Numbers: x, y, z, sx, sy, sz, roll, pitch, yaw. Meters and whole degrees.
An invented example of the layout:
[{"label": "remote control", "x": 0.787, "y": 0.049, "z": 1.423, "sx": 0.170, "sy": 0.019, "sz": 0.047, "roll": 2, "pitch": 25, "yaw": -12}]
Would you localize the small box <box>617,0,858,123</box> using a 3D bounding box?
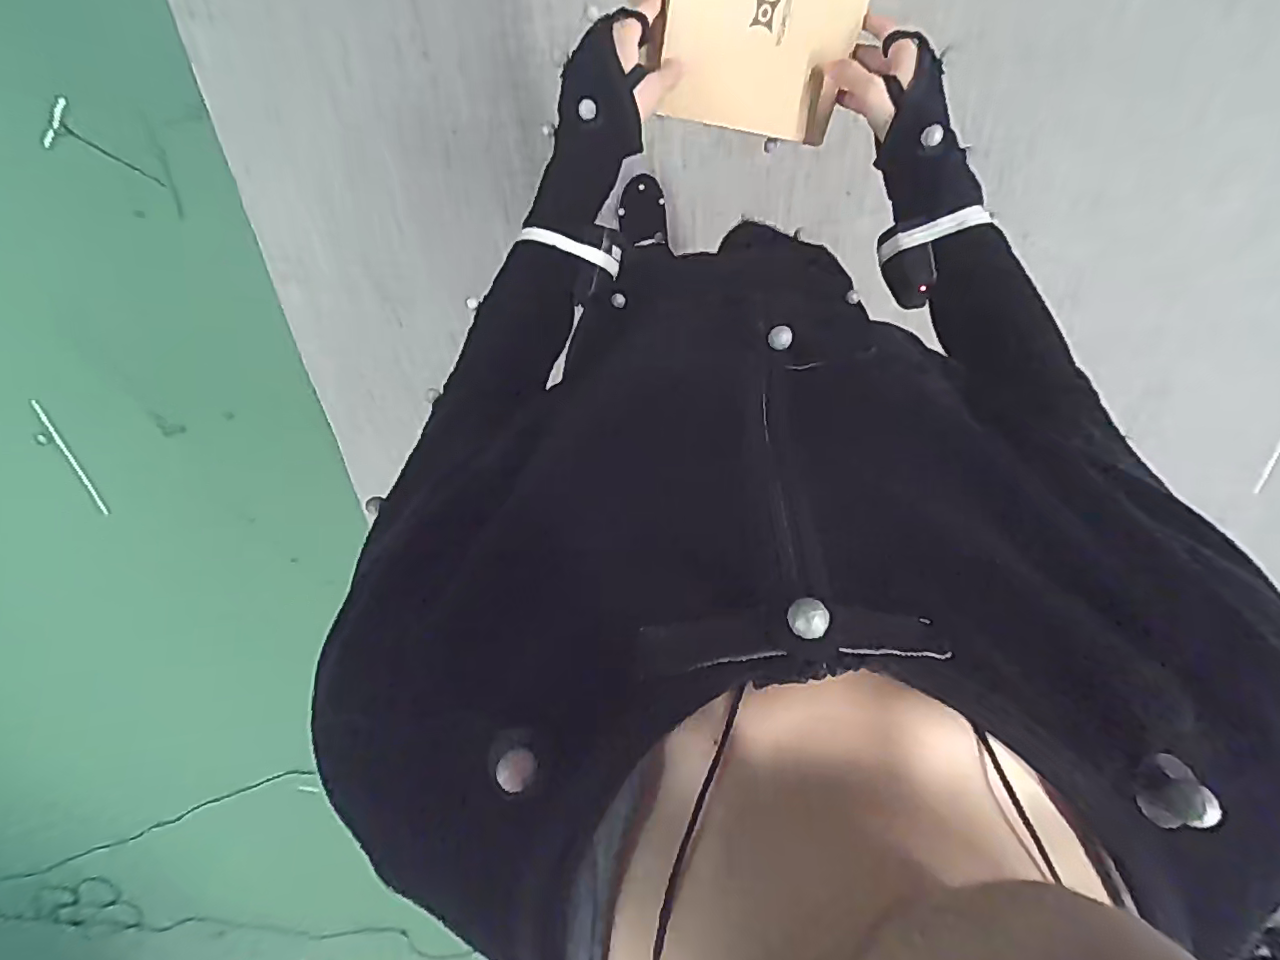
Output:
[{"label": "small box", "x": 0.084, "y": -0.454, "z": 0.505, "sx": 0.179, "sy": 0.176, "sz": 0.168, "roll": -1, "pitch": 130, "yaw": -17}]
